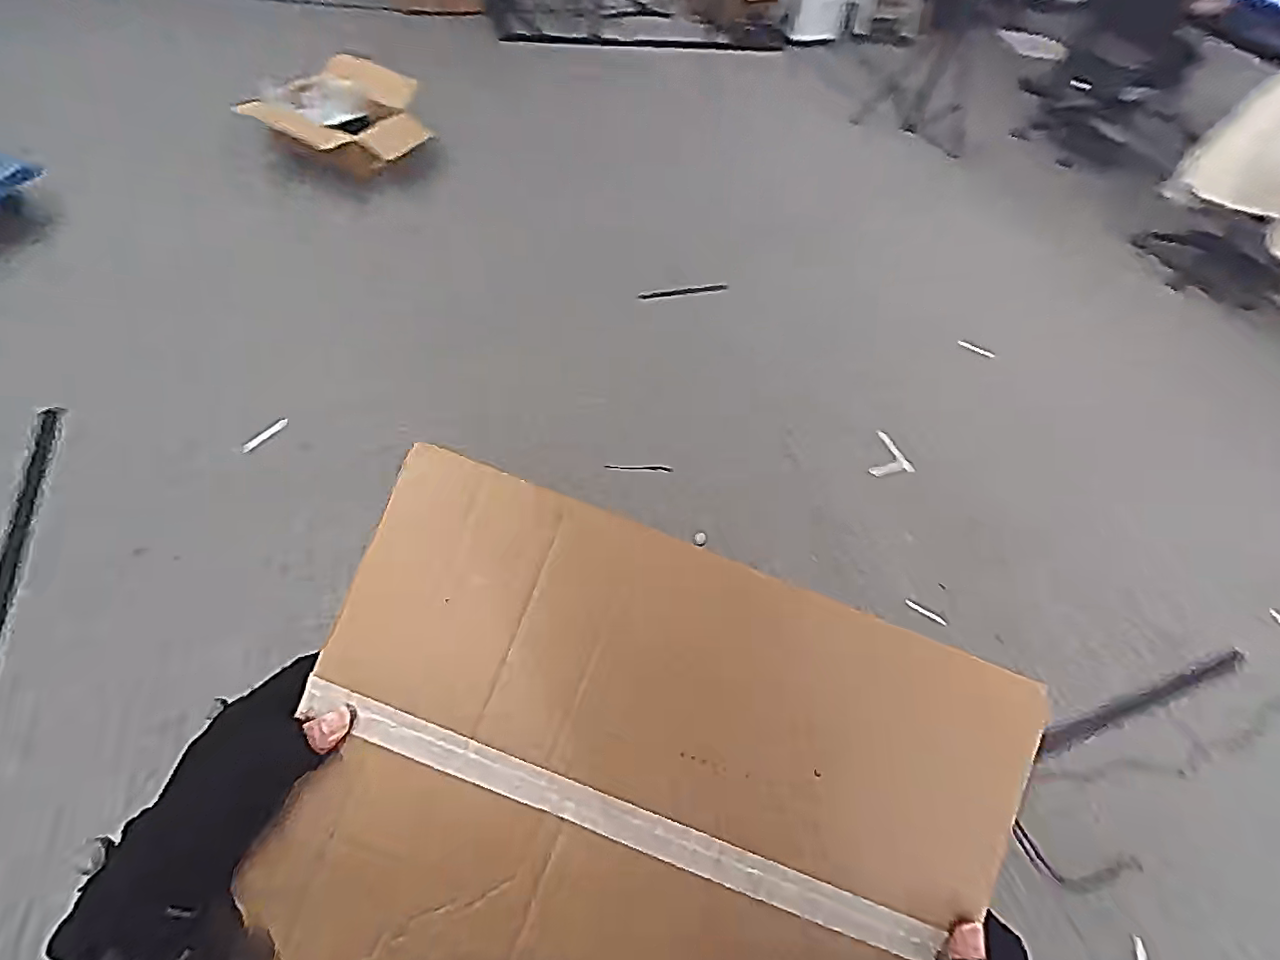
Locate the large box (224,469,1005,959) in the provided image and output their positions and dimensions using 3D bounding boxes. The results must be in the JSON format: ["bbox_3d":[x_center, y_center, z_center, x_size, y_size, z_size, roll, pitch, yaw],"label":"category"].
[{"bbox_3d":[-0.009,0.209,0.472,0.408,0.320,0.320,20,85,1],"label":"large box"}]
